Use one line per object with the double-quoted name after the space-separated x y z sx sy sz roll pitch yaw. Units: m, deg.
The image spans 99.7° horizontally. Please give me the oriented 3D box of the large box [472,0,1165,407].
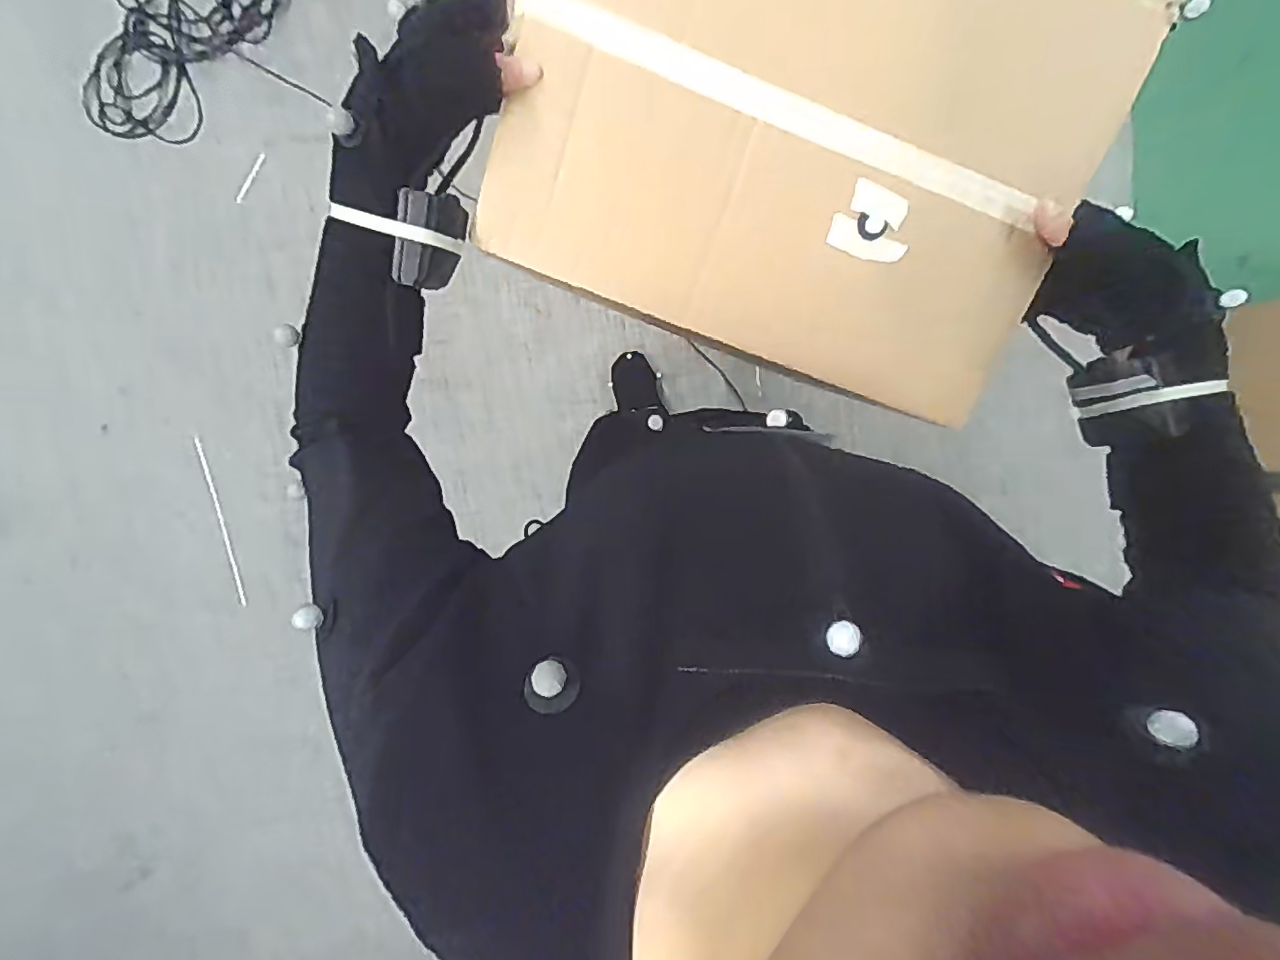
0.108 -0.296 0.509 0.408 0.320 0.320 19 106 -8 "large box"
